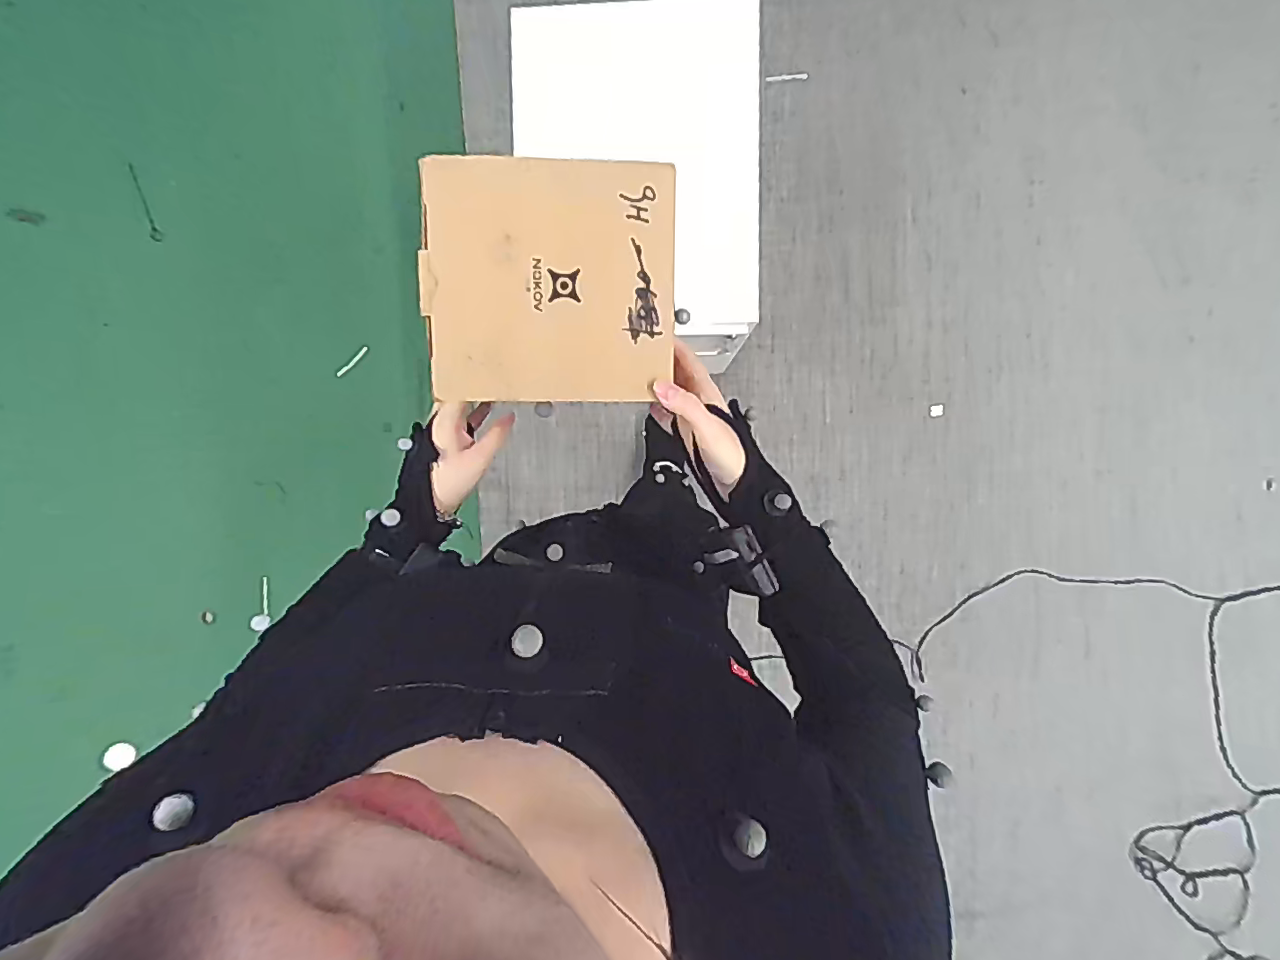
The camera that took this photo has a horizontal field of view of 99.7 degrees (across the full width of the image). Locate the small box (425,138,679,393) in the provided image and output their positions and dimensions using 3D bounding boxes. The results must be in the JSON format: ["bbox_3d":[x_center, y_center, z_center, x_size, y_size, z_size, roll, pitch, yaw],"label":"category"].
[{"bbox_3d":[-0.063,-0.160,0.457,0.179,0.176,0.168,0,99,-3],"label":"small box"}]
